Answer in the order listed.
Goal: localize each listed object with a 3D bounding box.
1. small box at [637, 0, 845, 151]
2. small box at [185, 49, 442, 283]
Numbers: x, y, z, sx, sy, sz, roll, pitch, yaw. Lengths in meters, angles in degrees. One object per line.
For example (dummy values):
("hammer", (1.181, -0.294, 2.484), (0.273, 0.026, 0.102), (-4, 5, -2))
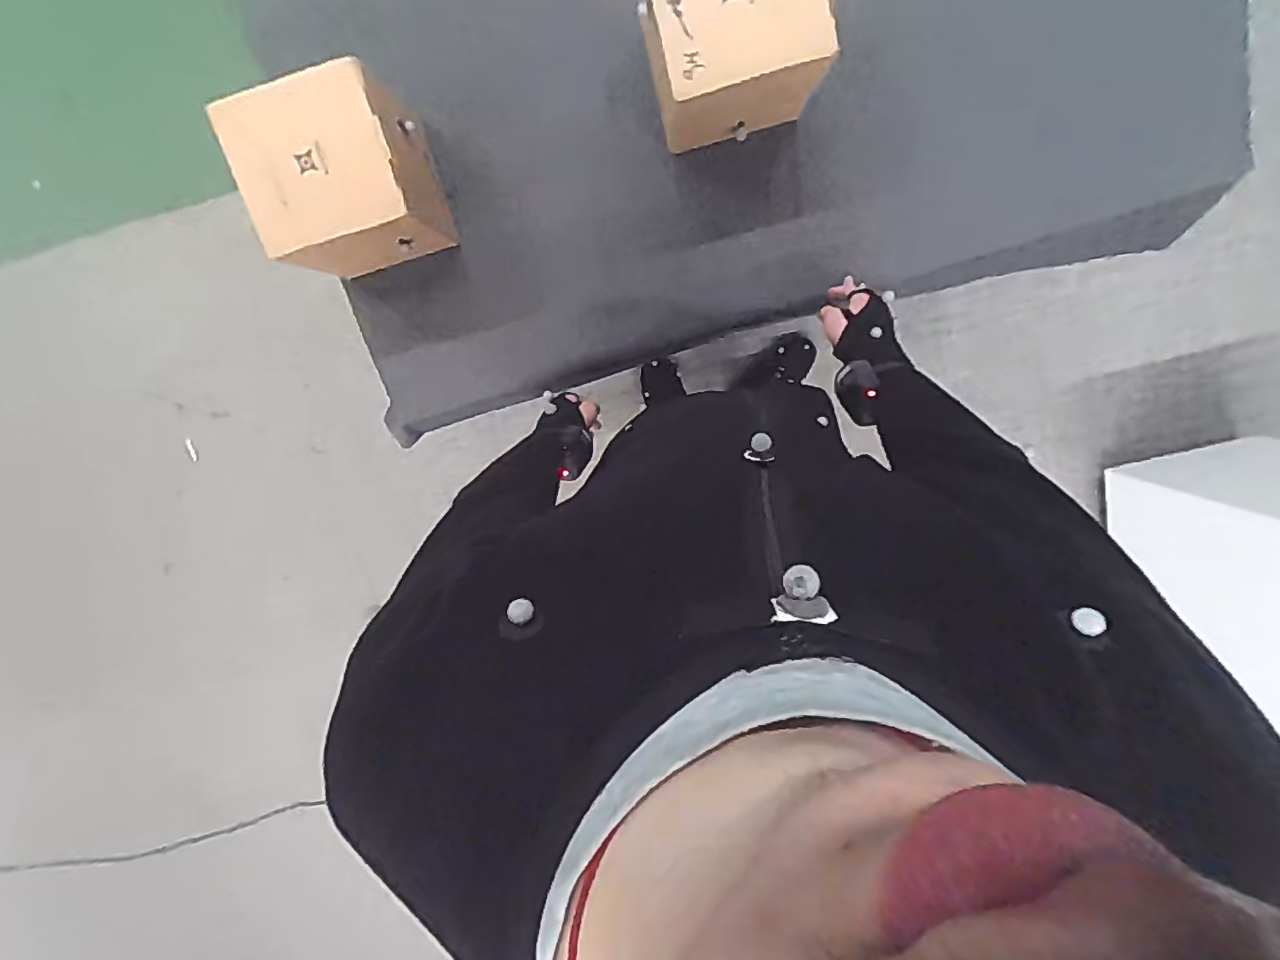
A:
("small box", (0.100, -0.502, 0.604), (0.179, 0.176, 0.168), (-15, 103, 2))
("small box", (-0.354, -0.345, 0.632), (0.179, 0.176, 0.168), (-17, 102, 4))
